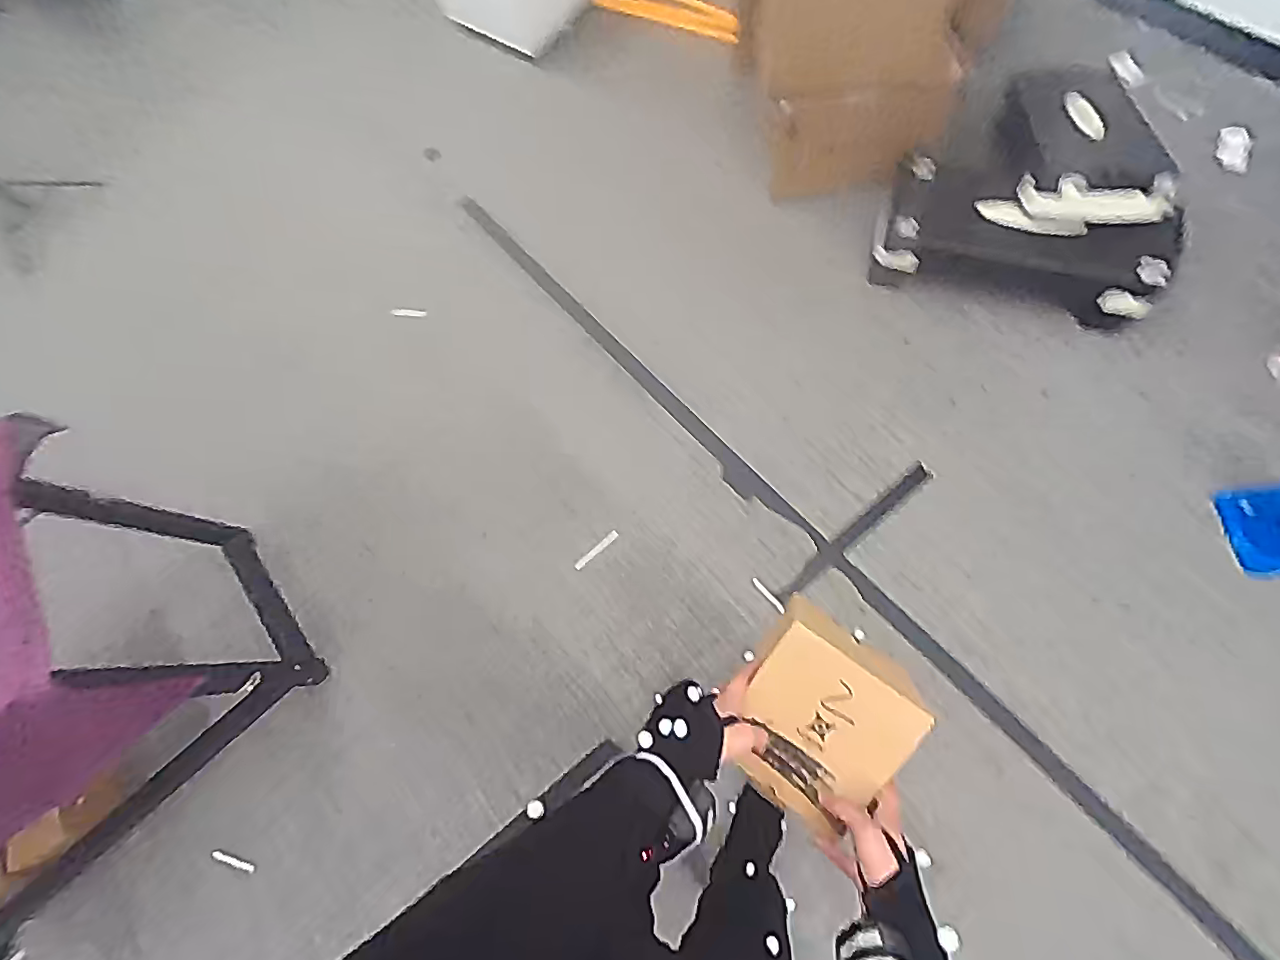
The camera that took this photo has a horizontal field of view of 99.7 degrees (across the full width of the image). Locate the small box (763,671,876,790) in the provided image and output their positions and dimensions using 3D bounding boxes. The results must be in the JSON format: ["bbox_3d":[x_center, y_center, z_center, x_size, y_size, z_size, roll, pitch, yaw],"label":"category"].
[{"bbox_3d":[0.394,0.553,1.226,0.179,0.176,0.168,-44,71,-4],"label":"small box"}]
